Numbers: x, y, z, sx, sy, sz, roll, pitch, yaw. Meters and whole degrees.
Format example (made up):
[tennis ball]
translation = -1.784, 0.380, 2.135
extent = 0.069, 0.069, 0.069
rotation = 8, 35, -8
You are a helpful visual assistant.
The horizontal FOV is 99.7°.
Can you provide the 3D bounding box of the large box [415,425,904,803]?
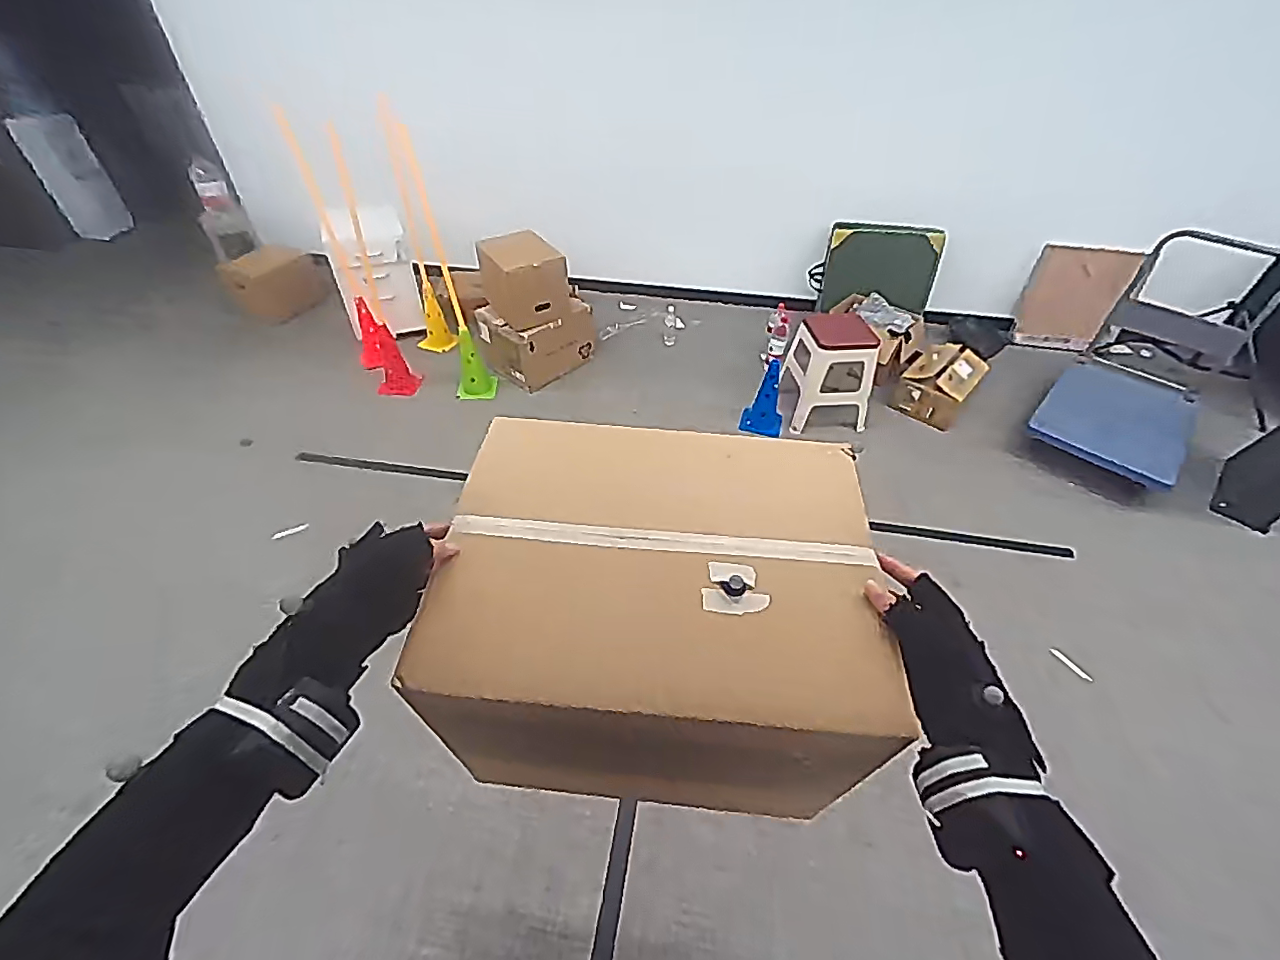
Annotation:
[large box]
translation = 0.018, 0.161, 0.638
extent = 0.408, 0.320, 0.320
rotation = 5, 50, 2
